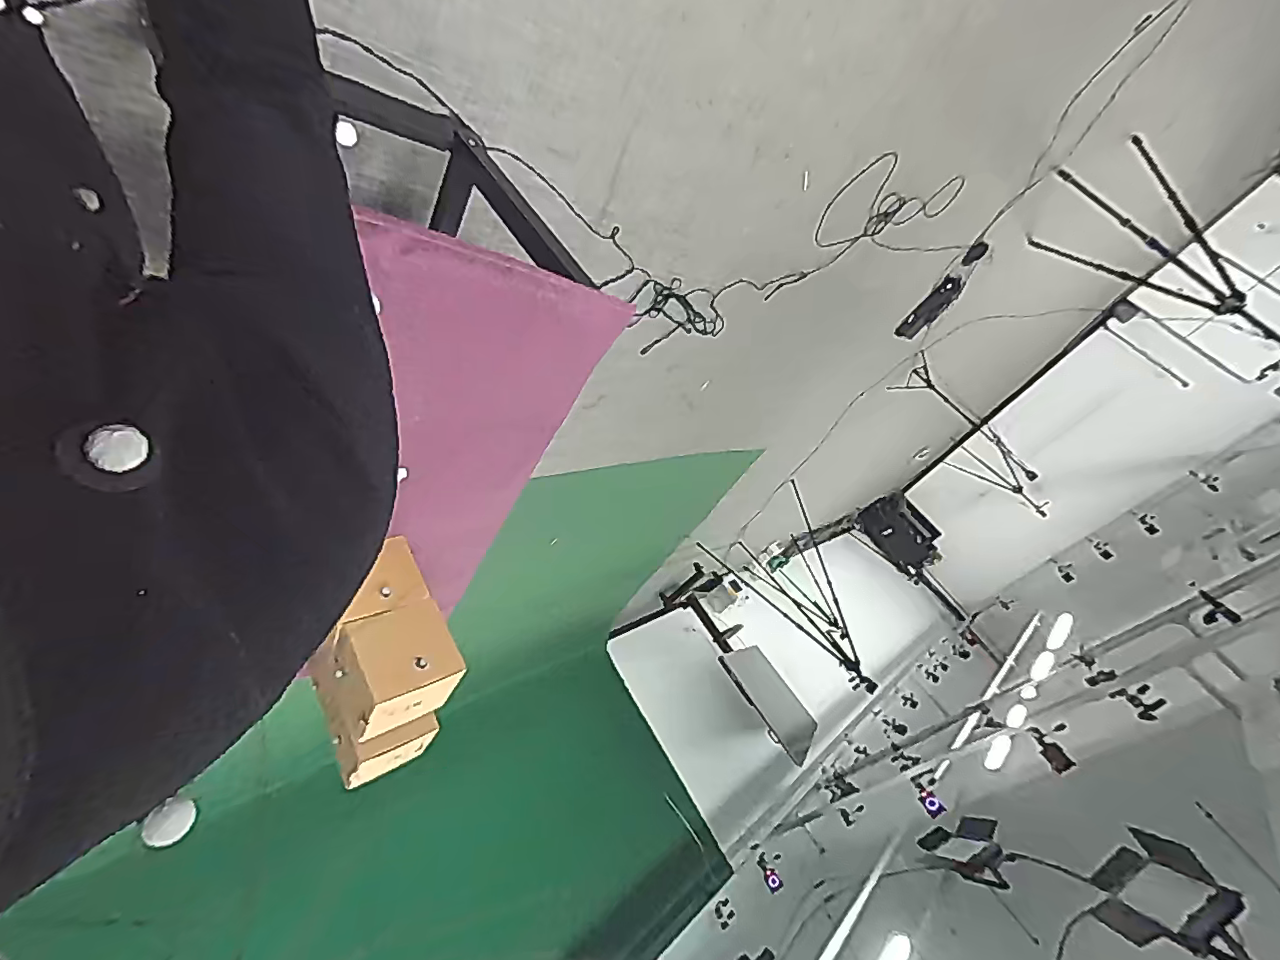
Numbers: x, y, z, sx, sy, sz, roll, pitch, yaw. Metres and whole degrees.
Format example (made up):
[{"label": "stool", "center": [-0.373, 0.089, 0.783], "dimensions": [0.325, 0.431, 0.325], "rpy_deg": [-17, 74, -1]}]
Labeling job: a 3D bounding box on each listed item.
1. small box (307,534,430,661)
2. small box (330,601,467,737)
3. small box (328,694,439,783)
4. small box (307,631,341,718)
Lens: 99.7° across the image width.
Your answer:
[{"label": "small box", "center": [-0.568, 0.237, 1.121], "dimensions": [0.179, 0.176, 0.168], "rpy_deg": [-12, 147, -44]}, {"label": "small box", "center": [-0.477, 0.360, 1.061], "dimensions": [0.179, 0.176, 0.168], "rpy_deg": [-9, 144, -47]}, {"label": "small box", "center": [-0.605, 0.561, 1.262], "dimensions": [0.179, 0.176, 0.168], "rpy_deg": [-8, 145, -46]}, {"label": "small box", "center": [-0.695, 0.443, 1.332], "dimensions": [0.179, 0.176, 0.168], "rpy_deg": [-9, 145, -47]}]
